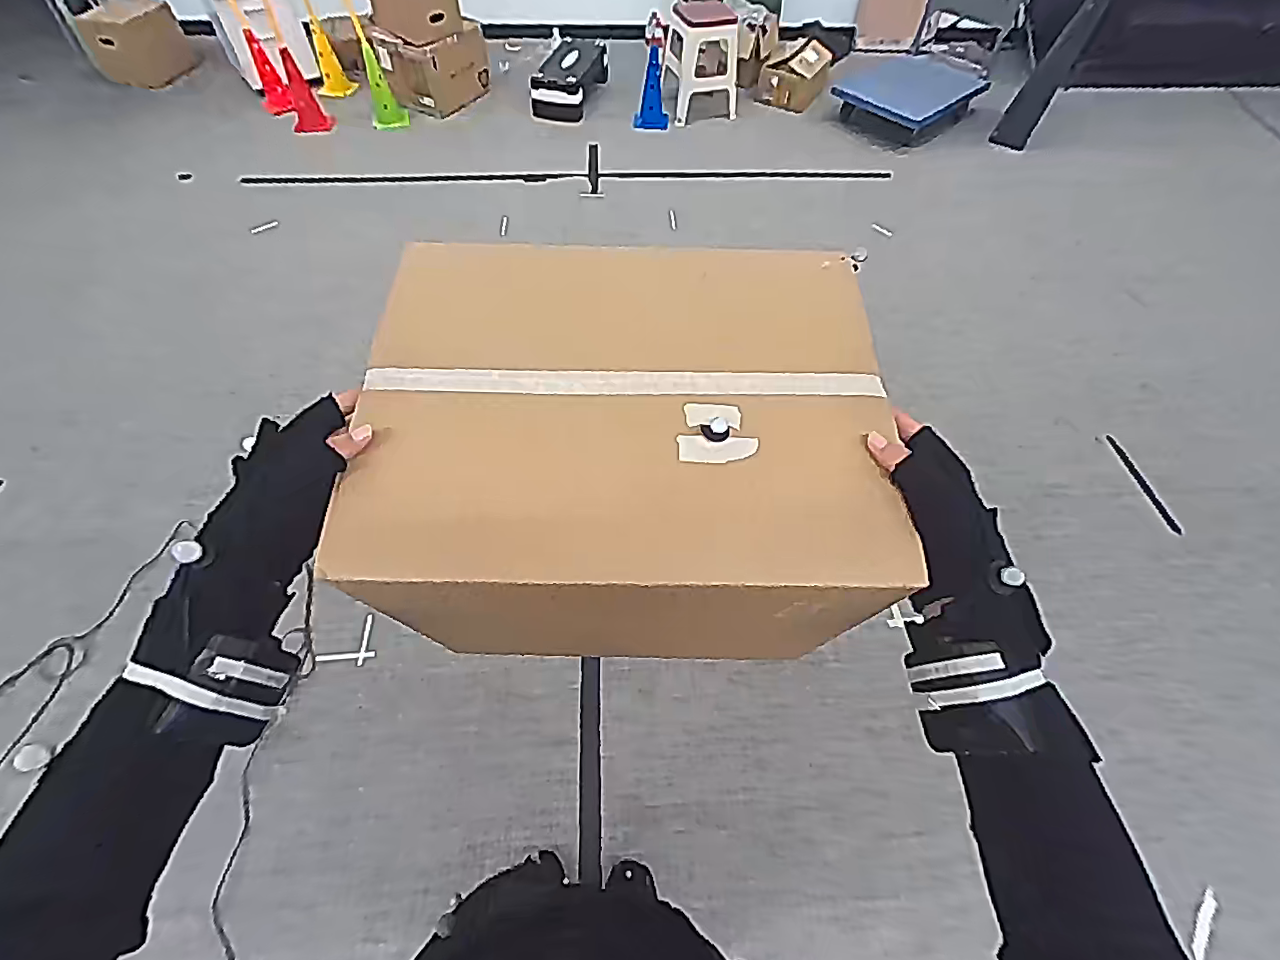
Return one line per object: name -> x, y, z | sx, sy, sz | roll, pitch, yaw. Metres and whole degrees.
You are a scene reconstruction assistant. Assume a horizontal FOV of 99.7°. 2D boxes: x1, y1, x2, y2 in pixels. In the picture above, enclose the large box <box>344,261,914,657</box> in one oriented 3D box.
large box -> -0.011, 0.002, 0.570 | 0.408, 0.320, 0.320 | 1, 64, -1
